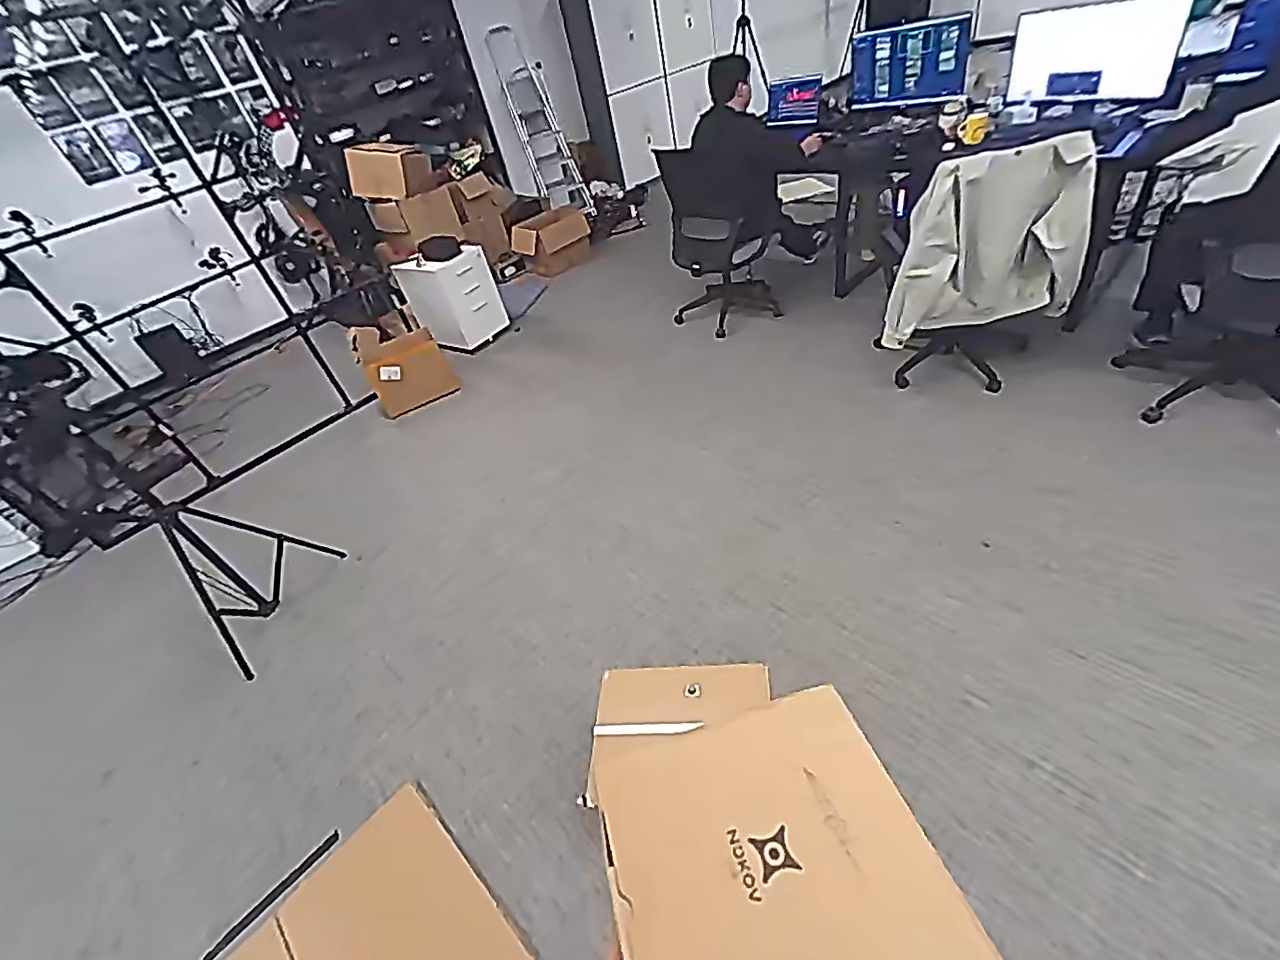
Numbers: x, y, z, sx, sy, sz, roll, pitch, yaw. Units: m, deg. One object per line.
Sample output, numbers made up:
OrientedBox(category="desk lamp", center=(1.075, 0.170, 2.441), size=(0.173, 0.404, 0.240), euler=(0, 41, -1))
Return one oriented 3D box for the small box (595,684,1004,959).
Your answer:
OrientedBox(category="small box", center=(0.083, 0.272, 0.352), size=(0.179, 0.176, 0.168), euler=(-15, 39, -8))
